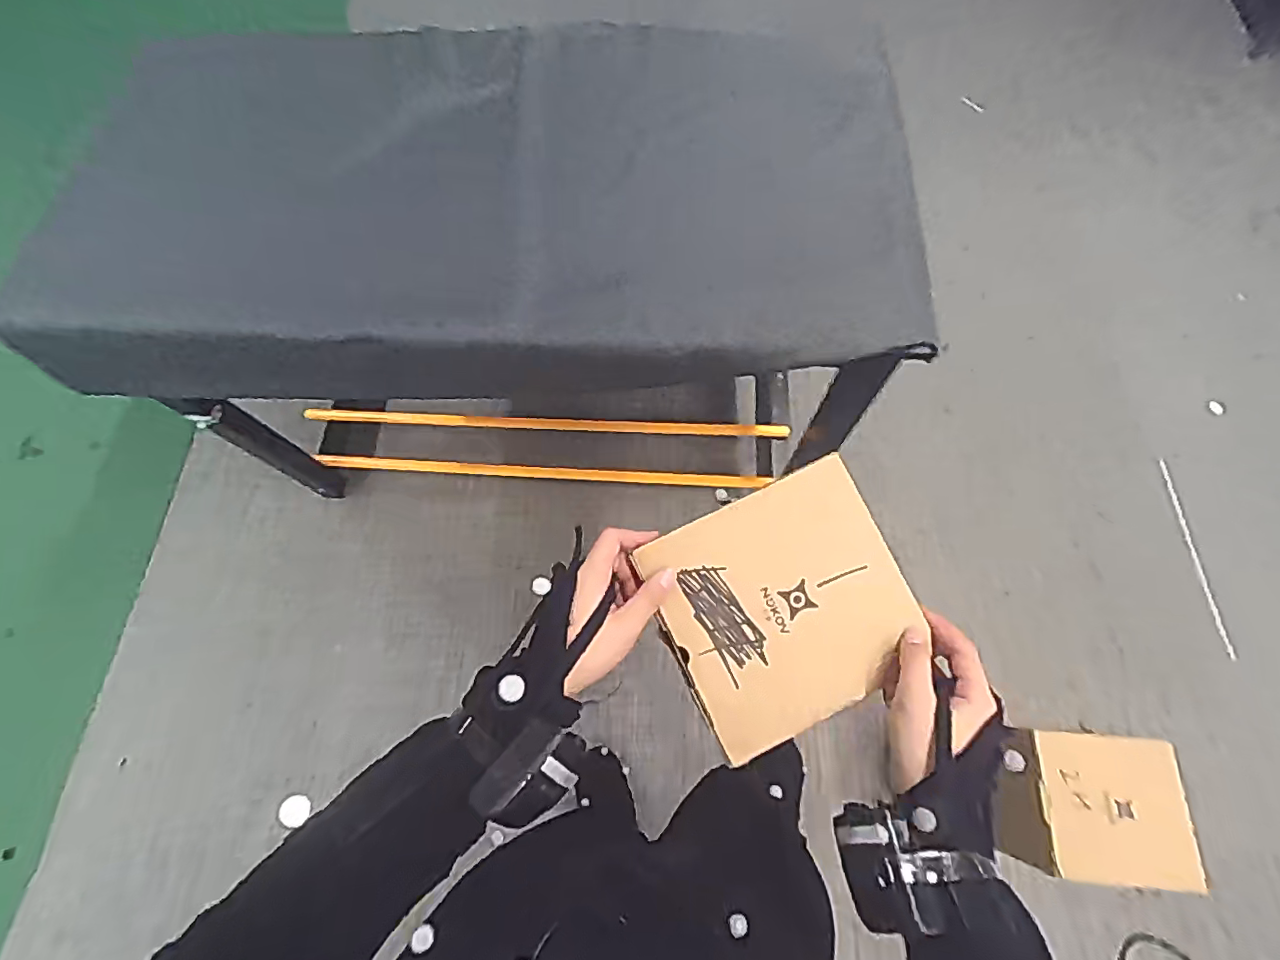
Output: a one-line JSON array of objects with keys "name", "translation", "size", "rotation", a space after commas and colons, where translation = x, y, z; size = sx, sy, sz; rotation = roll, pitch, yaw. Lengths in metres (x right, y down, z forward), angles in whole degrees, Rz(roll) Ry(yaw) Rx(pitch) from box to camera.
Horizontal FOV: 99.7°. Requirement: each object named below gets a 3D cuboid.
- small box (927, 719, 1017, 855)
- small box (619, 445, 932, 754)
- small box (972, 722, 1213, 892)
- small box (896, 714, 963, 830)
[{"name": "small box", "translation": [0.601, 0.496, 0.890], "size": [0.168, 0.176, 0.179], "rotation": [2, 68, 2]}, {"name": "small box", "translation": [0.095, 0.093, 0.465], "size": [0.179, 0.176, 0.168], "rotation": [-26, 84, -6]}, {"name": "small box", "translation": [0.595, 0.430, 0.739], "size": [0.179, 0.176, 0.168], "rotation": [3, 69, 4]}, {"name": "small box", "translation": [0.612, 0.559, 1.040], "size": [0.168, 0.176, 0.179], "rotation": [4, 70, 4]}]
